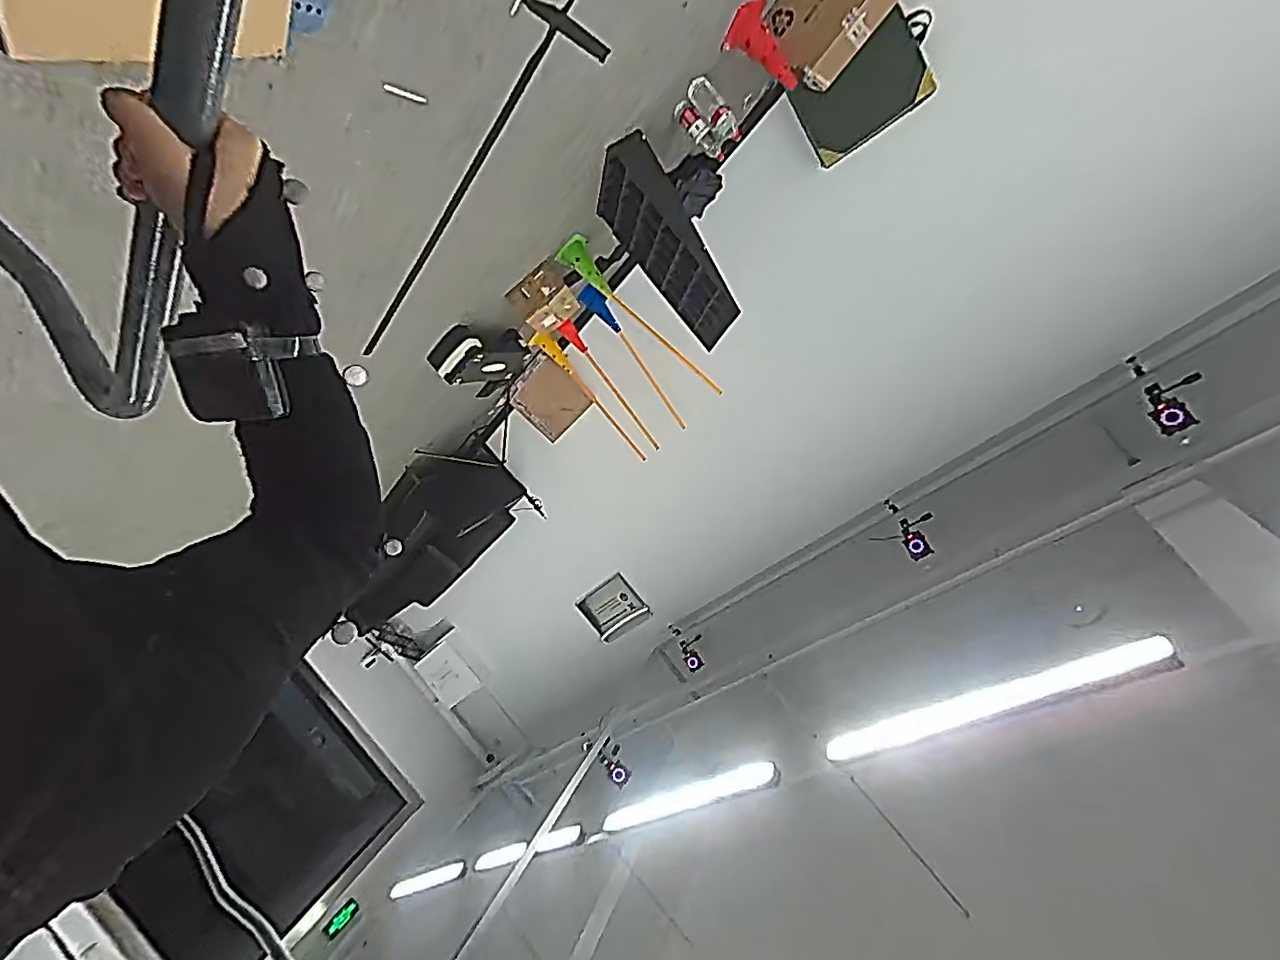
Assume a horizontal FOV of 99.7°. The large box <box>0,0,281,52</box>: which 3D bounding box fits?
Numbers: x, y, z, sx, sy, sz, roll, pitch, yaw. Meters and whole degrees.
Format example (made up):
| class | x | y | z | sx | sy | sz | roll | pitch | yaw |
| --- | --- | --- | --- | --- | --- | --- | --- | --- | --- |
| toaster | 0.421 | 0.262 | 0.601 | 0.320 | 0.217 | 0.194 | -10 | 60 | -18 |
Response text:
| class | x | y | z | sx | sy | sz | roll | pitch | yaw |
| --- | --- | --- | --- | --- | --- | --- | --- | --- | --- |
| large box | -0.552 | -0.697 | 0.474 | 0.408 | 0.320 | 0.320 | -36 | -167 | 43 |
